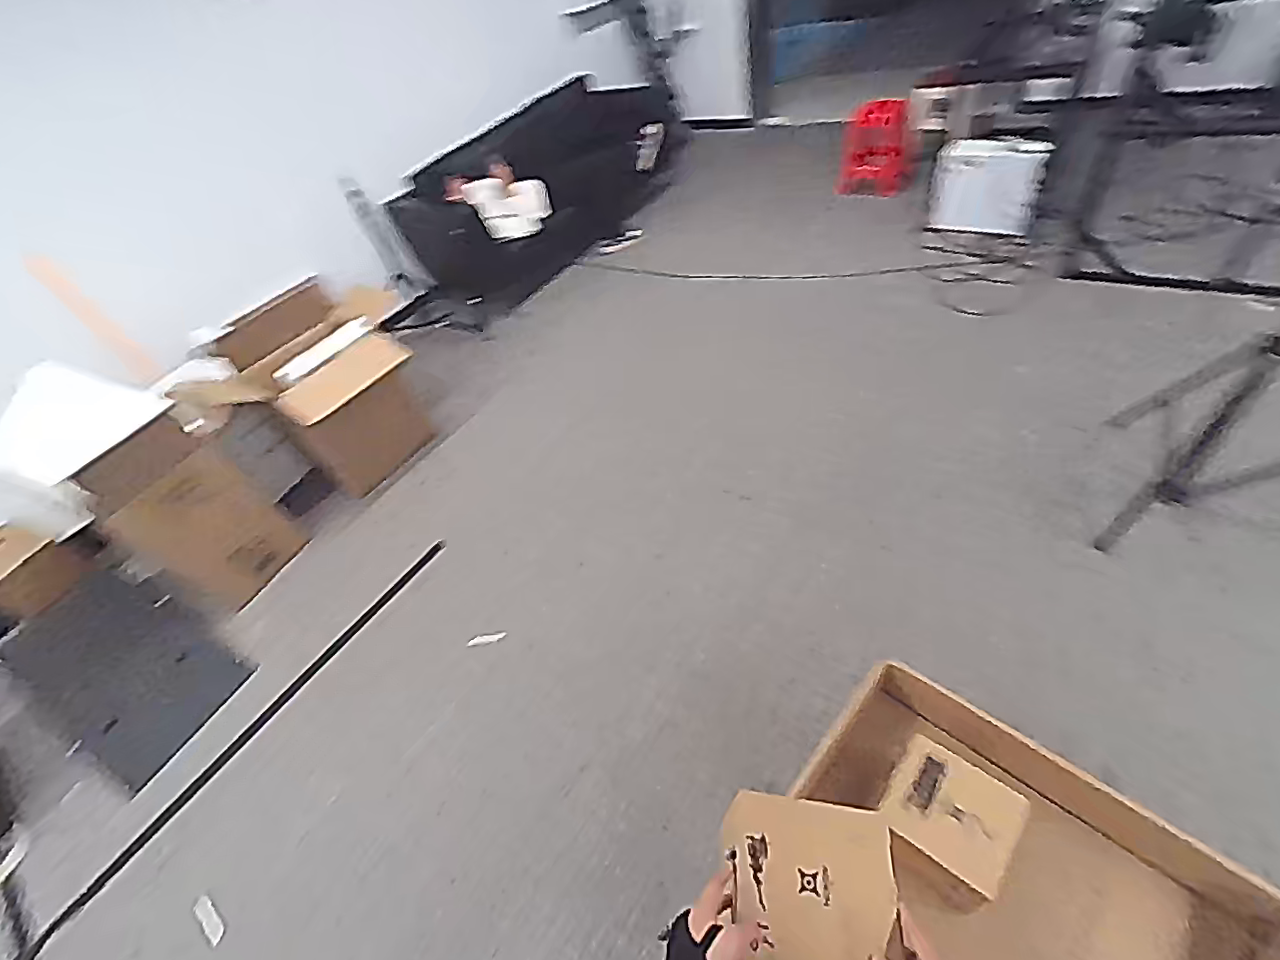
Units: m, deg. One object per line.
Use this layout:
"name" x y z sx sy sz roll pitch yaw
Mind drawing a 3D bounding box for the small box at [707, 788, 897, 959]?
"small box" 0.182 0.495 0.649 0.179 0.176 0.168 7 47 5
